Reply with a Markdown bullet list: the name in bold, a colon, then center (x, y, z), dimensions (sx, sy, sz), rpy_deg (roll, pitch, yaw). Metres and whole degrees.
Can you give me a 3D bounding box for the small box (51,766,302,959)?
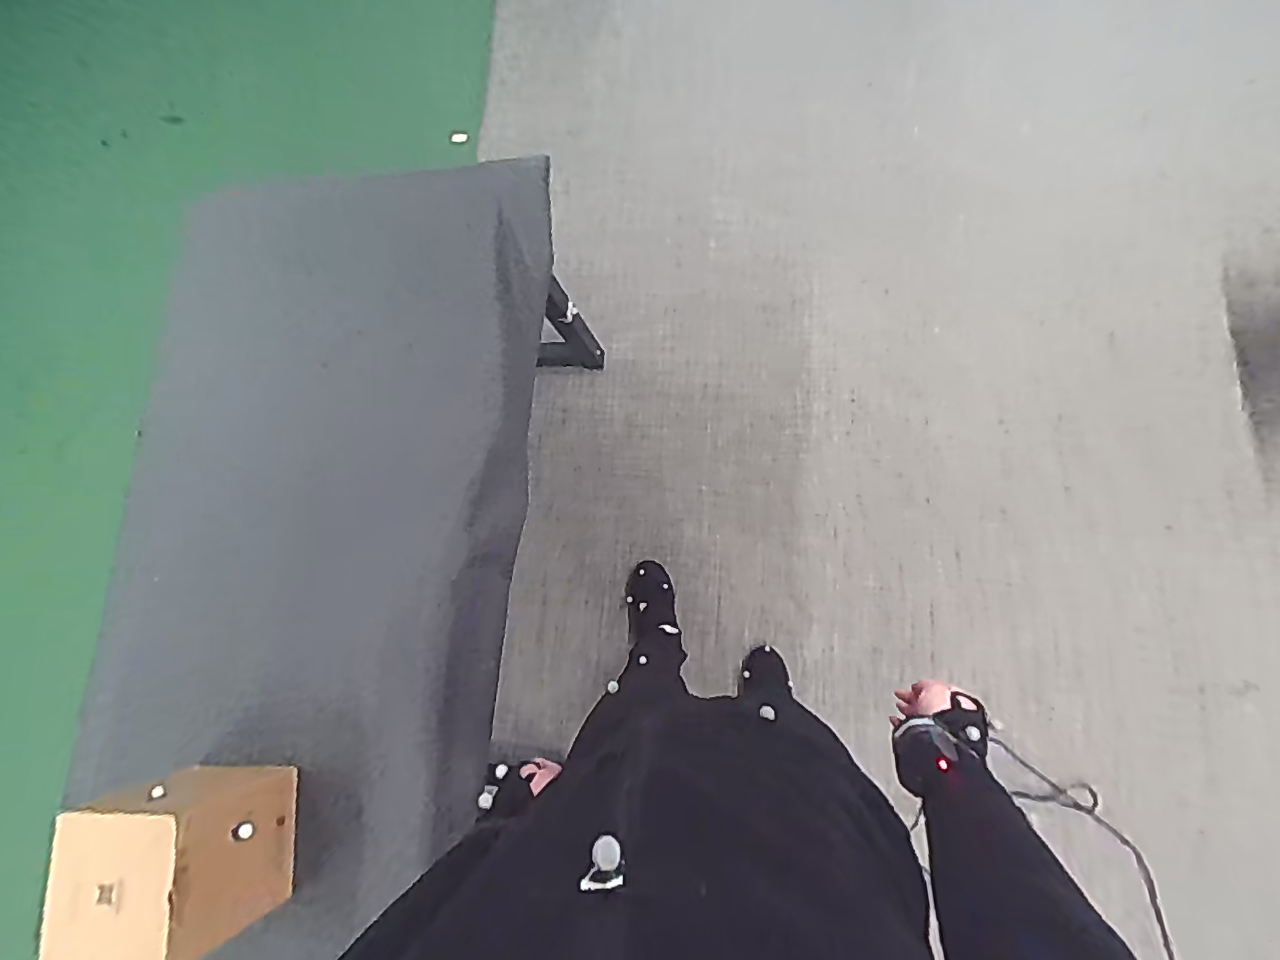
- **small box**: center (-0.565, 0.475, 0.682), dimensions (0.179, 0.176, 0.168), rpy_deg (-6, 78, 11)
